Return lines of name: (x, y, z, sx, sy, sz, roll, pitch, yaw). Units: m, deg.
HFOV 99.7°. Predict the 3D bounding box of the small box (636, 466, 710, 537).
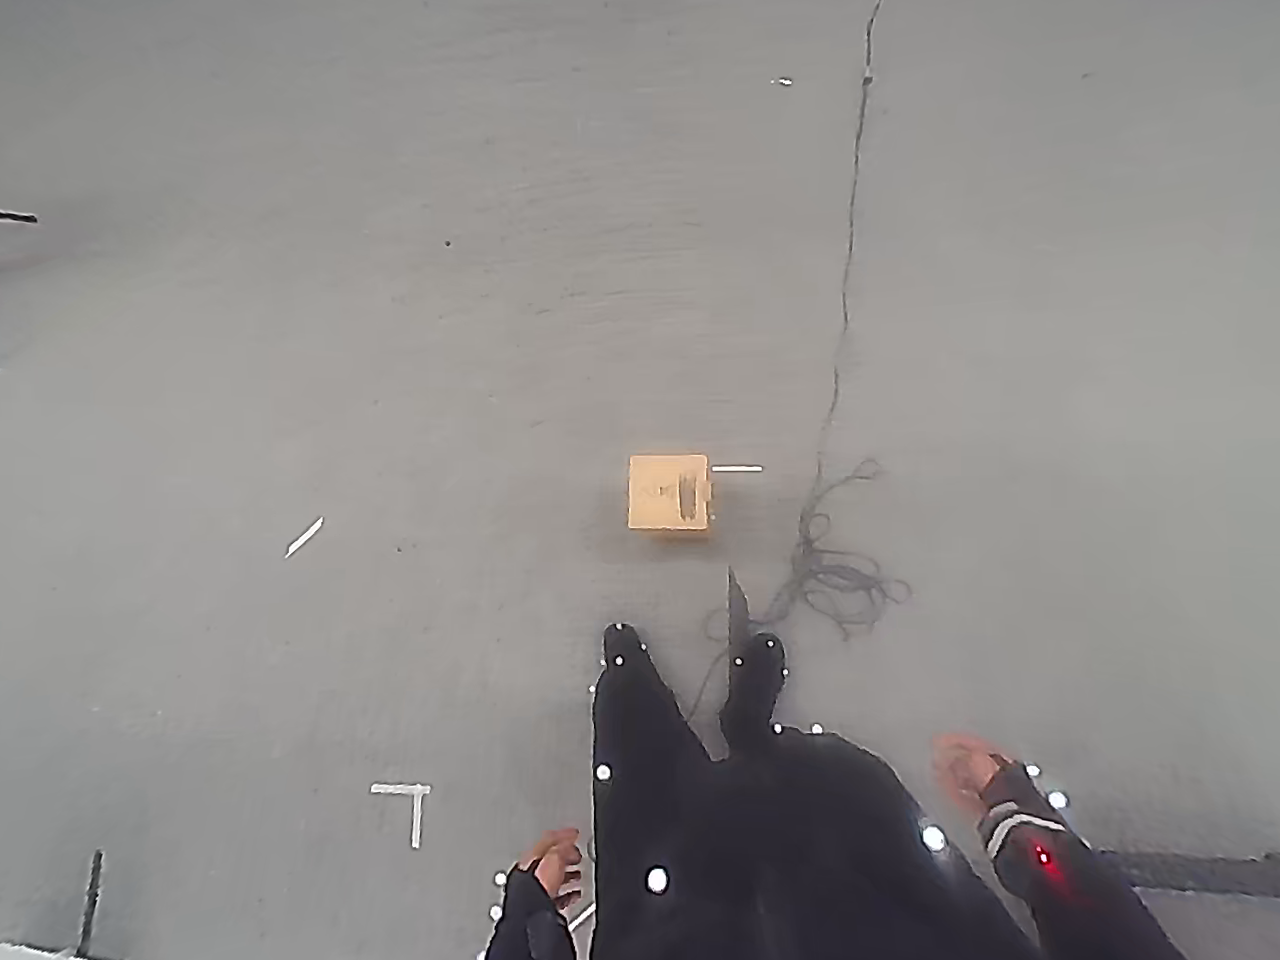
small box: (0.090, 0.062, 1.414, 0.179, 0.176, 0.168, -2, 80, 9)
